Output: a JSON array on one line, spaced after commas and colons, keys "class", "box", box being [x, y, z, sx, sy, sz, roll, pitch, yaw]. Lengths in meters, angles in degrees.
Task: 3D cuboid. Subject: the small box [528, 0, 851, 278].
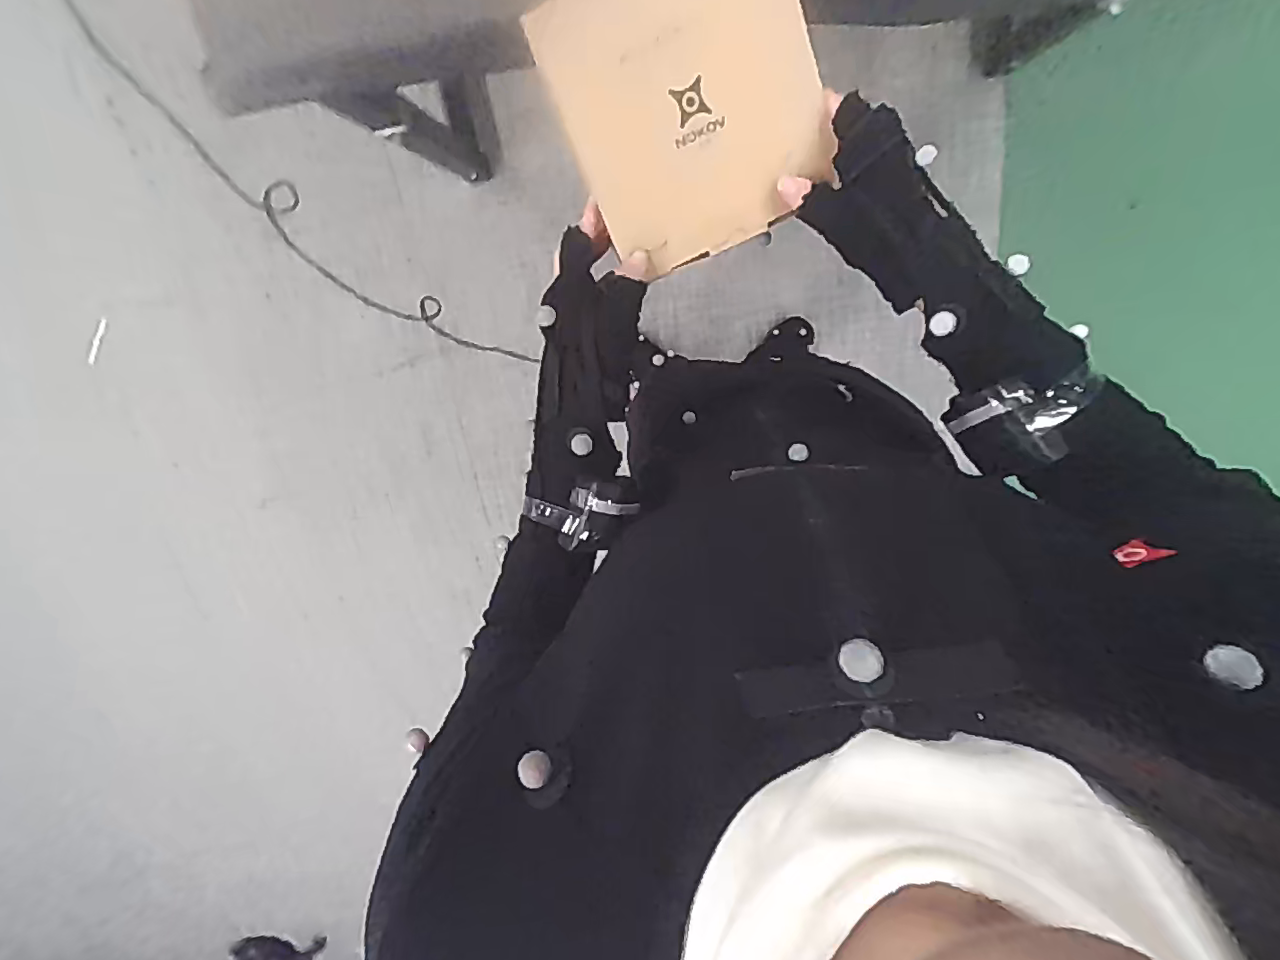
[{"class": "small box", "box": [0.036, -0.277, 0.424, 0.168, 0.176, 0.179, -23, 110, 6]}]
